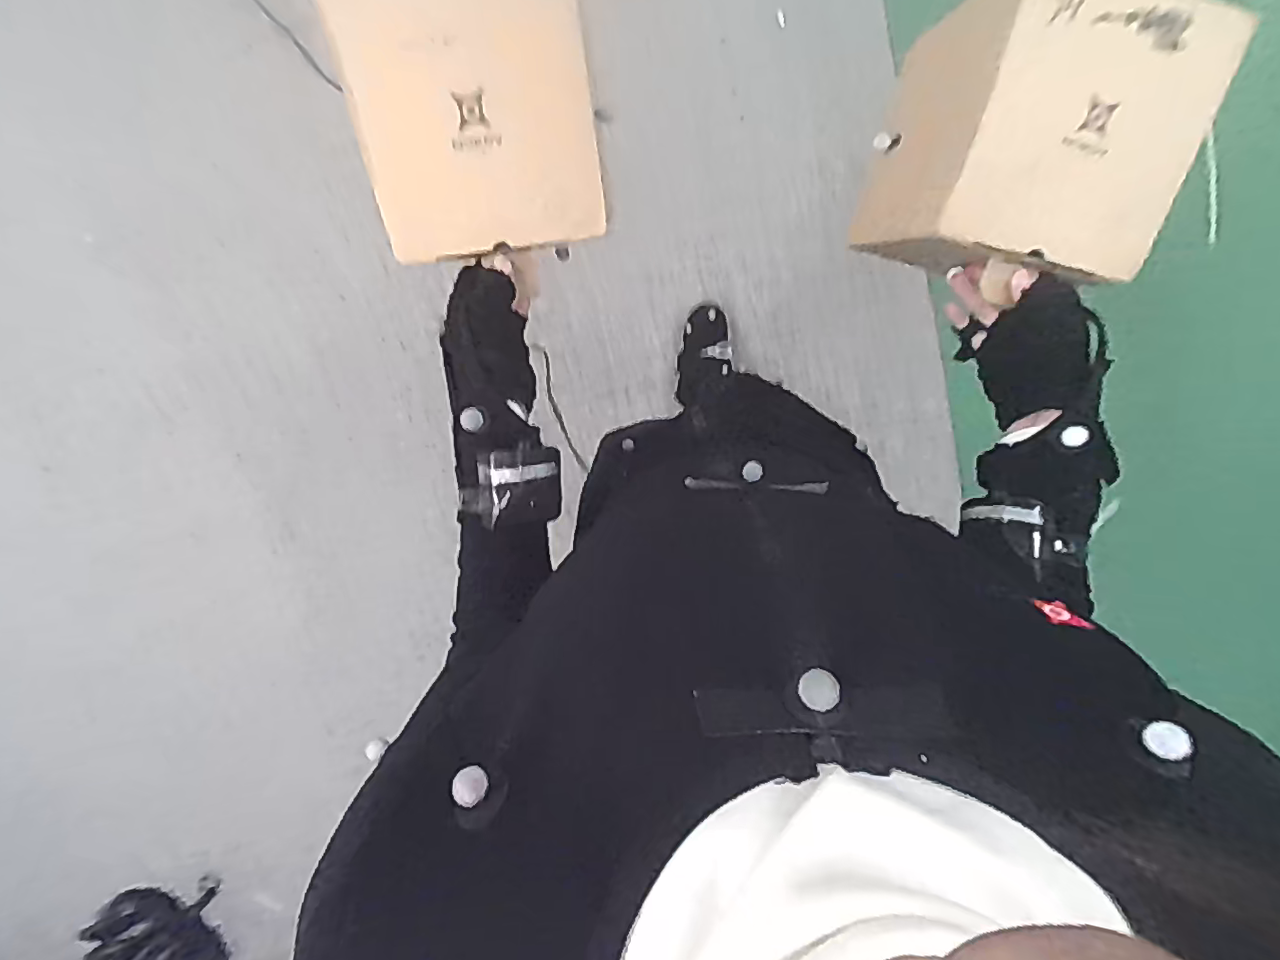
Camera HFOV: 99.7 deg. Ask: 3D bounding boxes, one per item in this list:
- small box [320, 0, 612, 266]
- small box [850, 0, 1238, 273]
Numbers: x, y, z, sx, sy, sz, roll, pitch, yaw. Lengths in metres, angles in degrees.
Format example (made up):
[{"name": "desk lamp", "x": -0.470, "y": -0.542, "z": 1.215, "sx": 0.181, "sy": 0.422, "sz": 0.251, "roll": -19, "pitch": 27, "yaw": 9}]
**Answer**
[{"name": "small box", "x": -0.118, "y": -0.291, "z": 0.454, "sx": 0.168, "sy": 0.176, "sz": 0.179, "roll": -8, "pitch": 116, "yaw": 3}, {"name": "small box", "x": 0.303, "y": -0.284, "z": 0.458, "sx": 0.168, "sy": 0.176, "sz": 0.179, "roll": 10, "pitch": 110, "yaw": -7}]
